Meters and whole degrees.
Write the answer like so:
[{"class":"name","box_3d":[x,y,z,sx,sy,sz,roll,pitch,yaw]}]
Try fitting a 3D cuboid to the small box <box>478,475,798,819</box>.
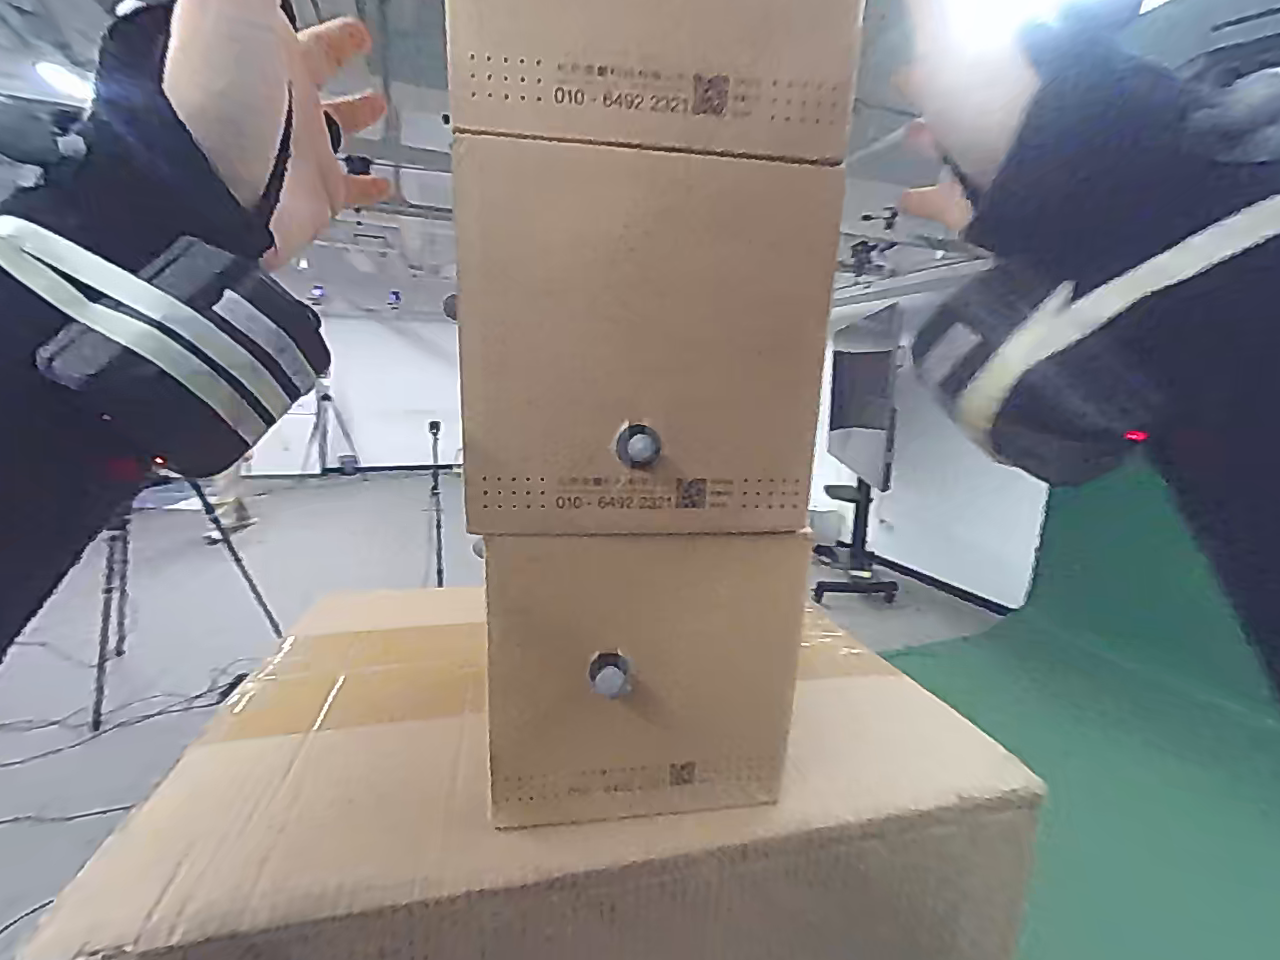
[{"class":"small box","box_3d":[-0.011,0.096,0.364,0.168,0.176,0.179,0,12,-9]}]
